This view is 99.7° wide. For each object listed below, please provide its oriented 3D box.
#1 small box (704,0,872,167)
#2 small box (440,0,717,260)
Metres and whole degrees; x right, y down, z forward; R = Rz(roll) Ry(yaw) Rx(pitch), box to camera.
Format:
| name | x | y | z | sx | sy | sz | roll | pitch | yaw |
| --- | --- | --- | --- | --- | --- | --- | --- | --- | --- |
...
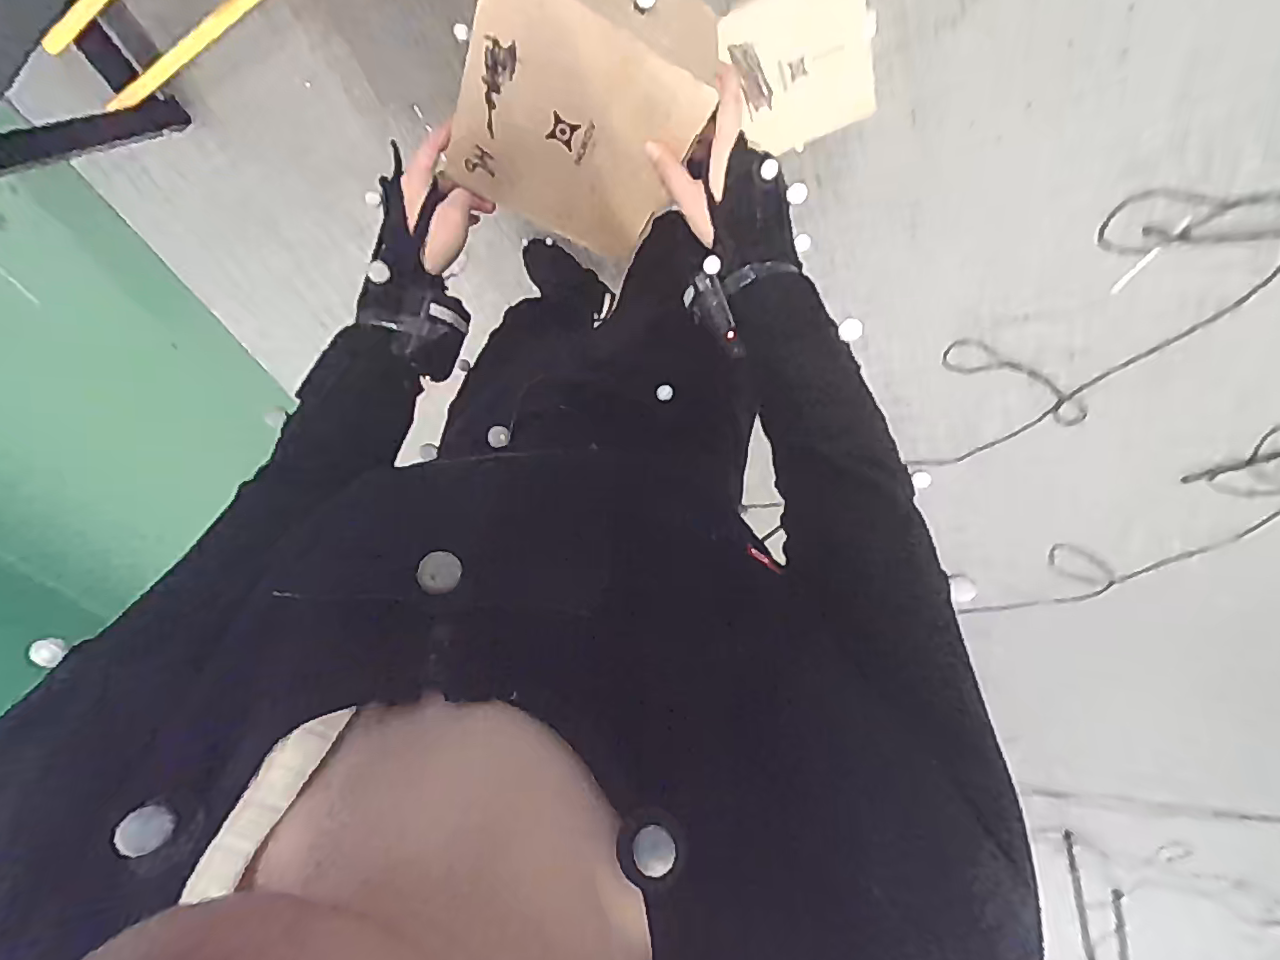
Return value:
| name | x | y | z | sx | sy | sz | roll | pitch | yaw |
| --- | --- | --- | --- | --- | --- | --- | --- | --- | --- |
| small box | 0.201 | -0.554 | 0.724 | 0.179 | 0.176 | 0.168 | -11 | 127 | 25 |
| small box | -0.053 | -0.337 | 0.468 | 0.179 | 0.176 | 0.168 | 17 | 144 | -22 |
